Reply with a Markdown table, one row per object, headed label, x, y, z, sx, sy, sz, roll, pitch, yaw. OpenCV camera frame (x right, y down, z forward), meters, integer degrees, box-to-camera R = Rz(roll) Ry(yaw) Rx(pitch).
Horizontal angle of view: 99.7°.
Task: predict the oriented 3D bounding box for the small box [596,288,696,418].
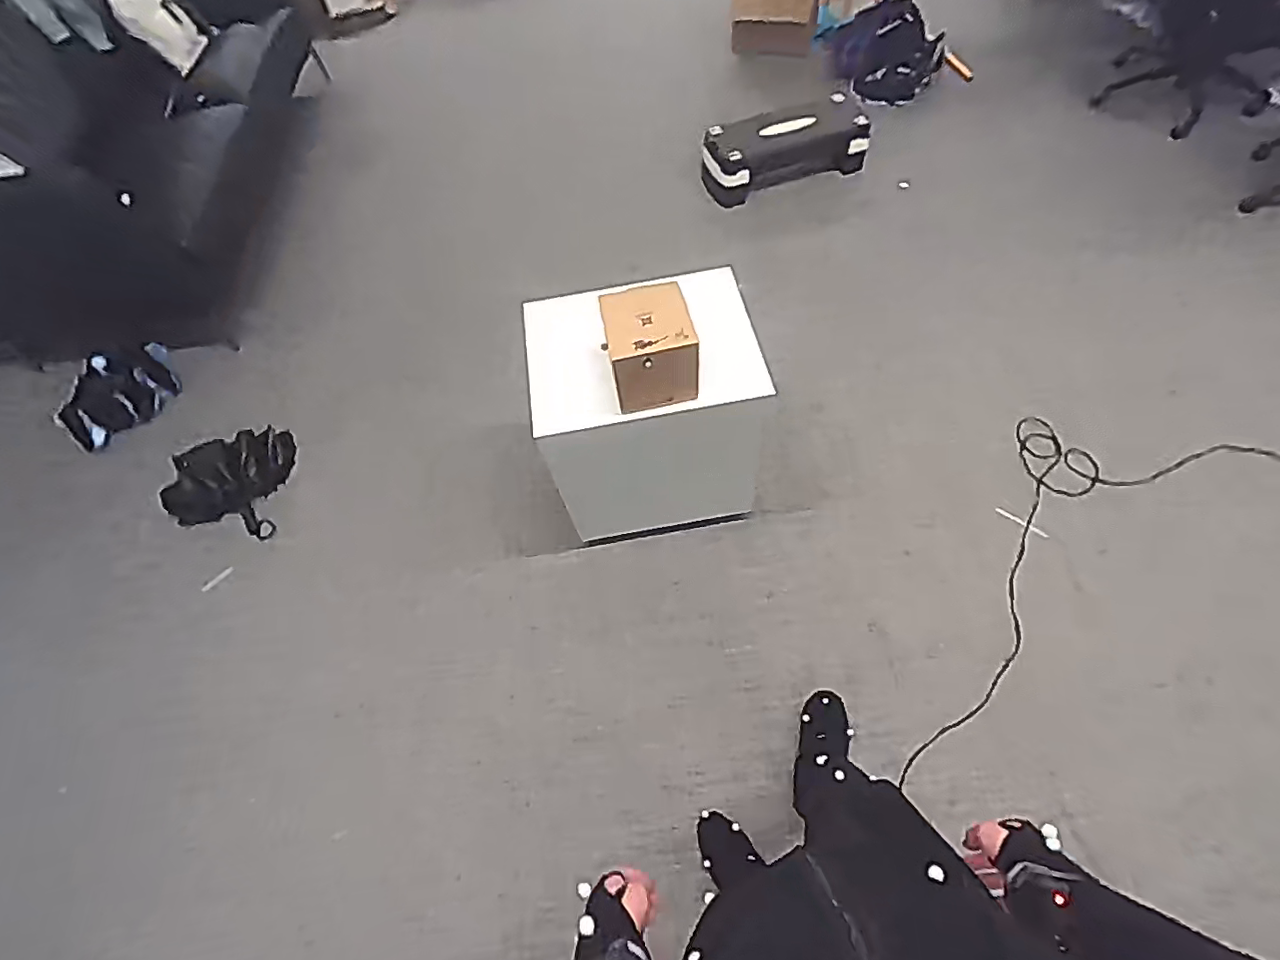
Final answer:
| label | x | y | z | sx | sy | sz | roll | pitch | yaw |
| --- | --- | --- | --- | --- | --- | --- | --- | --- | --- |
| small box | 0.012 | -0.253 | 1.094 | 0.168 | 0.176 | 0.179 | -13 | 59 | -2 |
